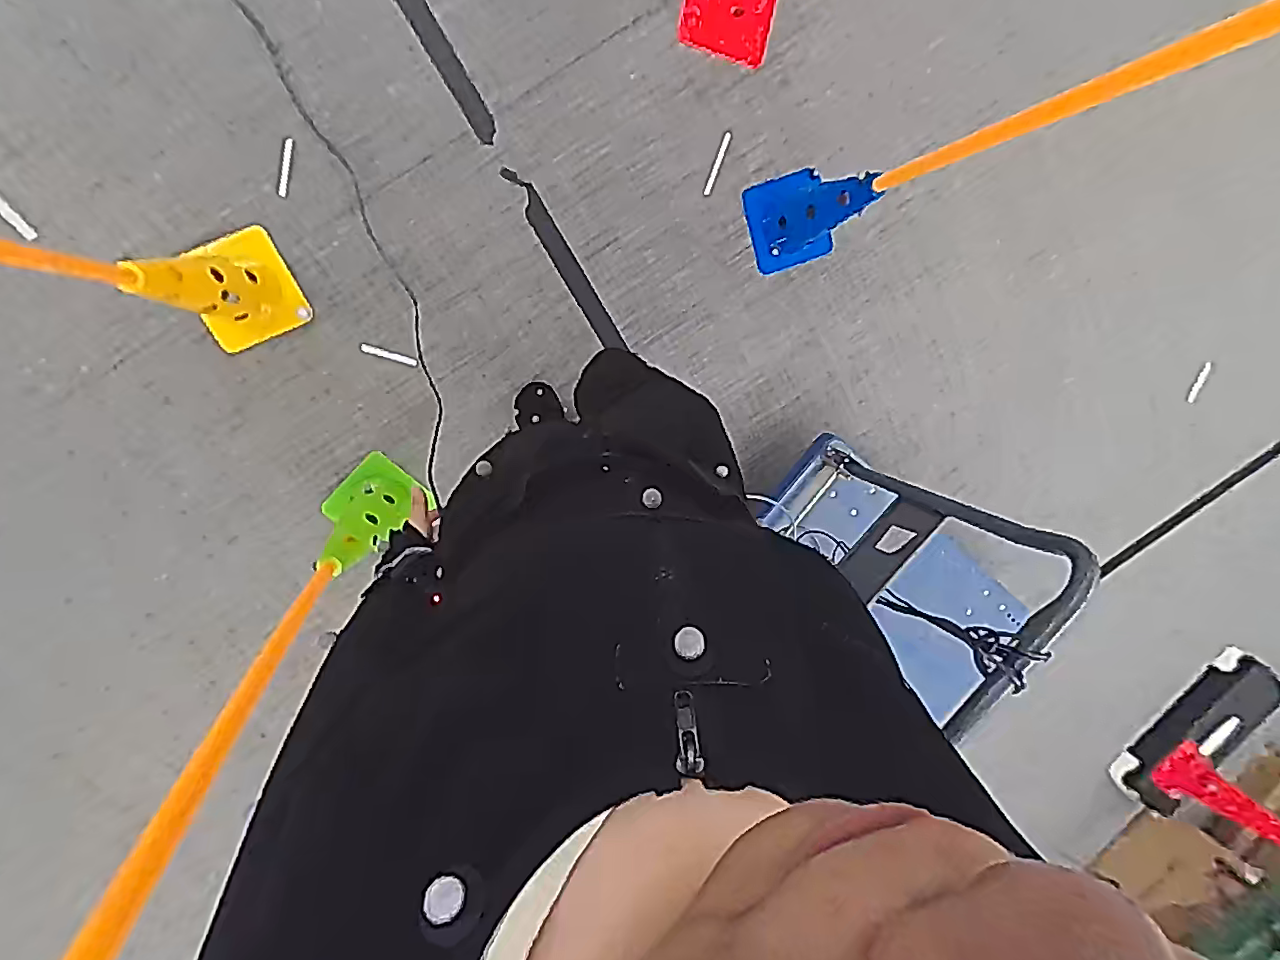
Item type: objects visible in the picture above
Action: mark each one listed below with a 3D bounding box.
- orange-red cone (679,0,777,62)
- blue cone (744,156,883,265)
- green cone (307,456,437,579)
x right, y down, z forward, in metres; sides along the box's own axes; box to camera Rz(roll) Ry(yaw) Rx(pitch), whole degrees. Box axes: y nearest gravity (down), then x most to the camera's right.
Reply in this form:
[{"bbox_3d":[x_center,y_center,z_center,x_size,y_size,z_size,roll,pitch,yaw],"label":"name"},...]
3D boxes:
[{"bbox_3d":[0.222,-0.969,0.975,0.198,0.360,0.199,11,104,-13],"label":"orange-red cone"},{"bbox_3d":[0.381,-0.583,1.125,0.193,0.380,0.192,-19,107,-6],"label":"blue cone"},{"bbox_3d":[-0.577,0.110,1.097,0.202,0.368,0.200,42,93,-17],"label":"green cone"}]
